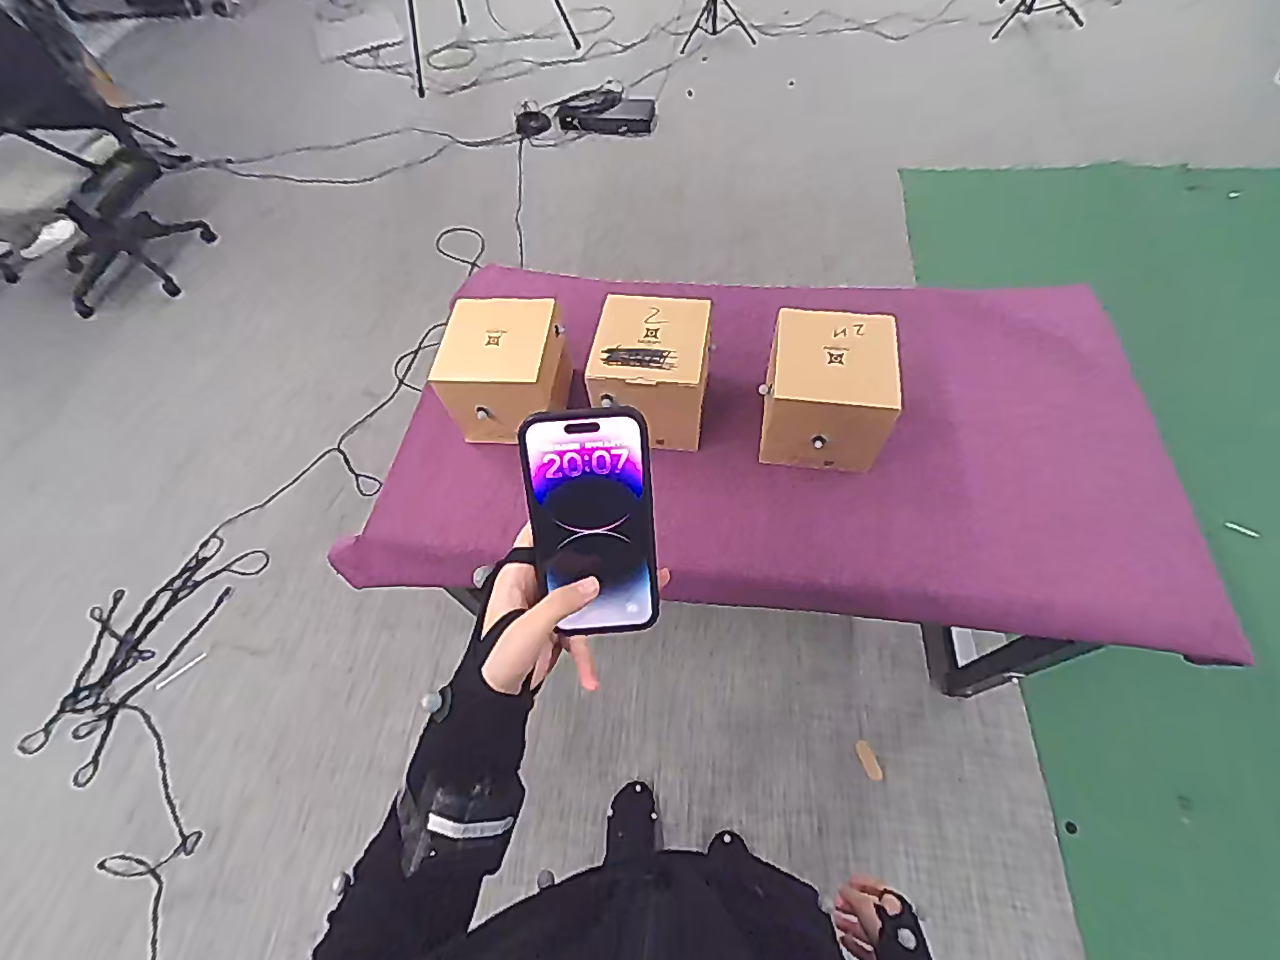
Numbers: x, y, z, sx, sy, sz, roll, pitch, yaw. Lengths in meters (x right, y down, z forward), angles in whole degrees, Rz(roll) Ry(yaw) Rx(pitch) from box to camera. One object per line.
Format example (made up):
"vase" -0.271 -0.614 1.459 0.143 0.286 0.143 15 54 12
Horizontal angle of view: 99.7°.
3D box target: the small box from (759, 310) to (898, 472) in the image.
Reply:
"small box" 0.278 -0.131 0.823 0.168 0.176 0.179 7 59 8

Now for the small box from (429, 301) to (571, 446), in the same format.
"small box" -0.217 -0.170 0.891 0.168 0.176 0.179 1 58 6
